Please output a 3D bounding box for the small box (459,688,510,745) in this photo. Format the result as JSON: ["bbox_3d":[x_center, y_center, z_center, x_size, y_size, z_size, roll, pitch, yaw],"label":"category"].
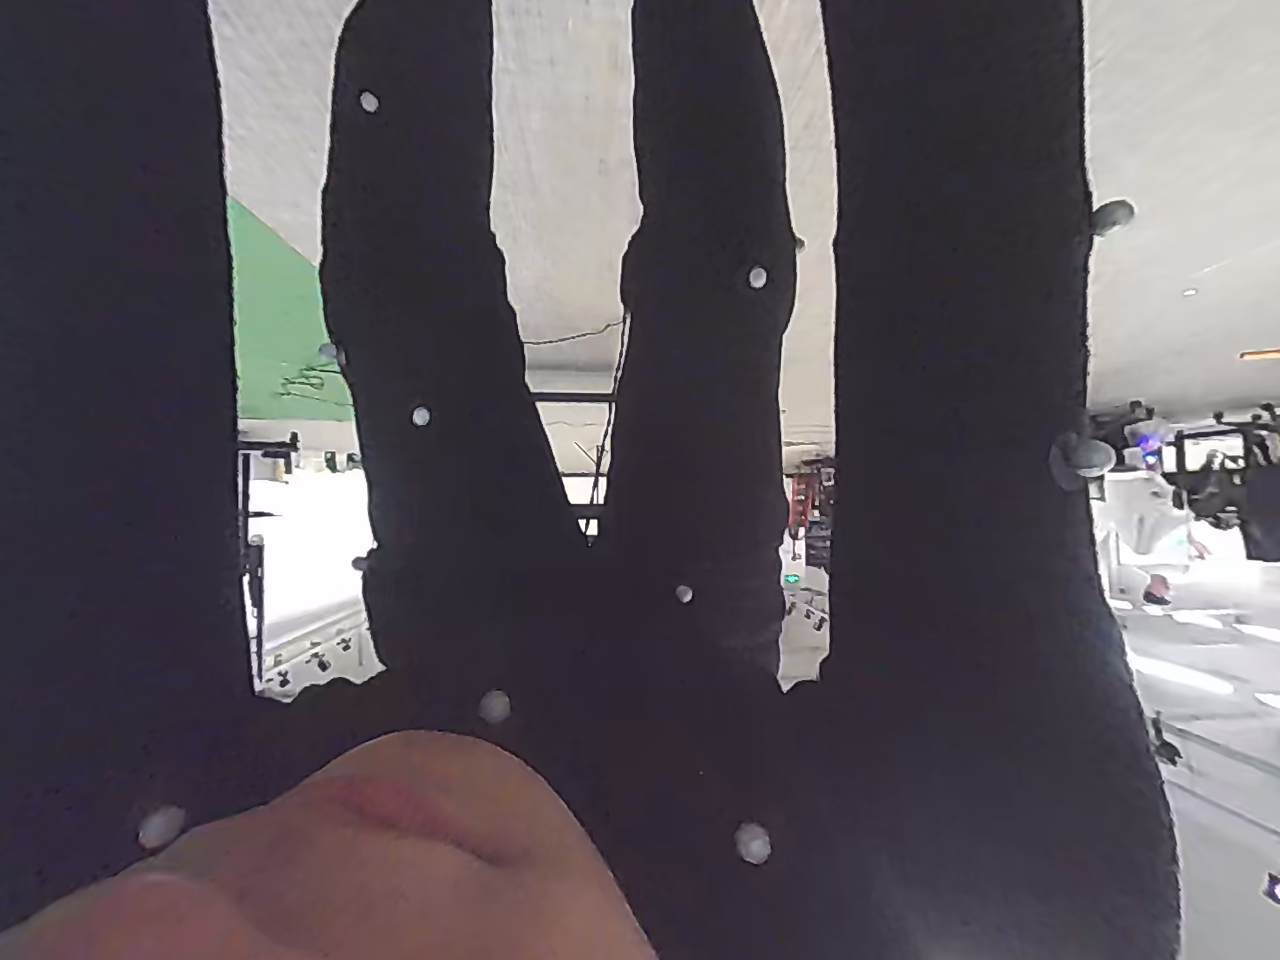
[{"bbox_3d":[-0.652,0.987,2.270,0.179,0.176,0.168,-2,177,-4],"label":"small box"}]
